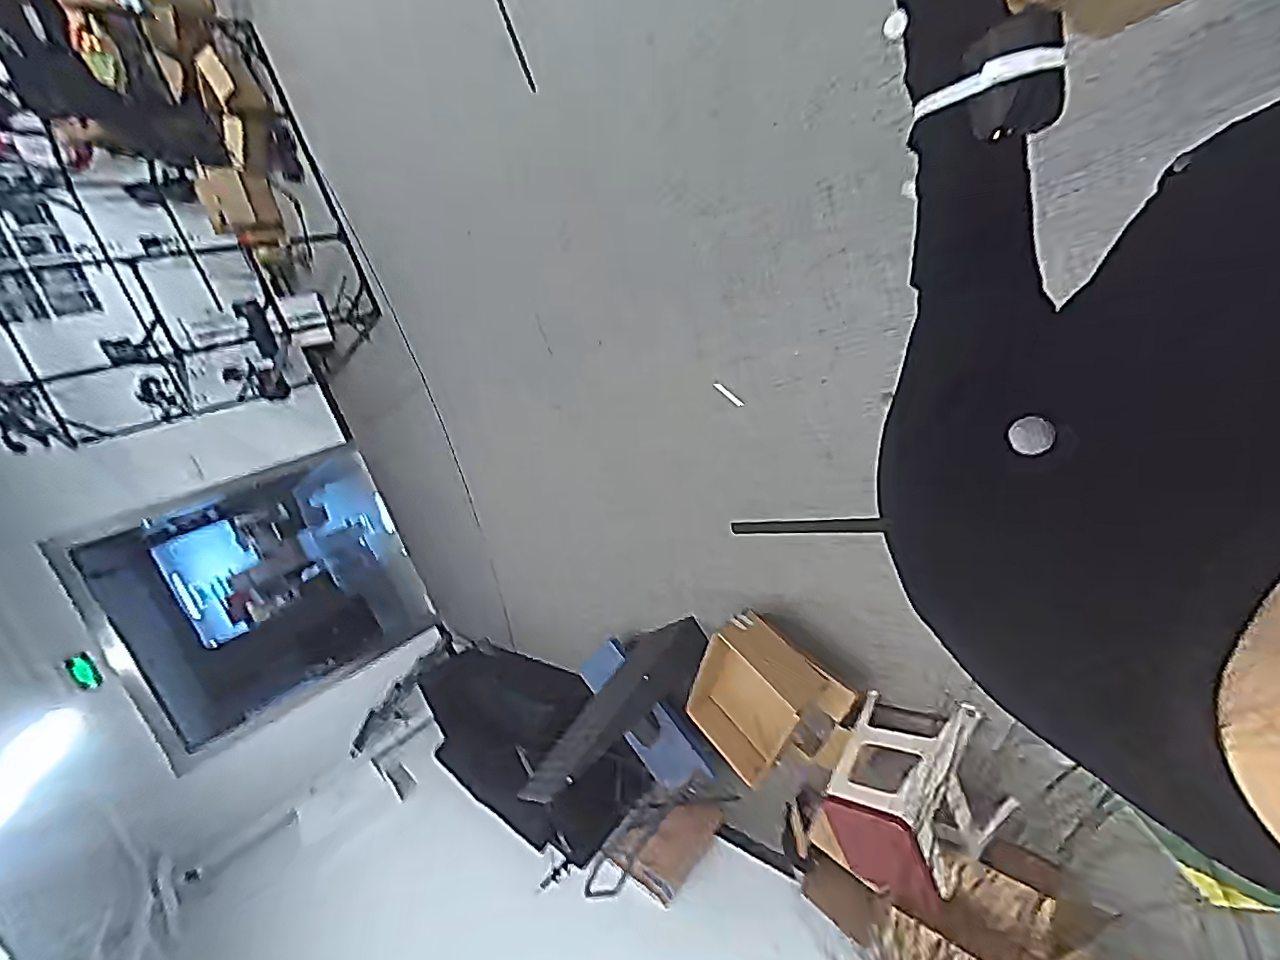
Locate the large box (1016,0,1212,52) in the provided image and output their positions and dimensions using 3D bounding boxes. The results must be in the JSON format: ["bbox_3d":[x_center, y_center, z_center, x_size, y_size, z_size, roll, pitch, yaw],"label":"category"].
[{"bbox_3d":[0.434,-0.512,0.272,0.408,0.320,0.320,-3,114,49],"label":"large box"}]
